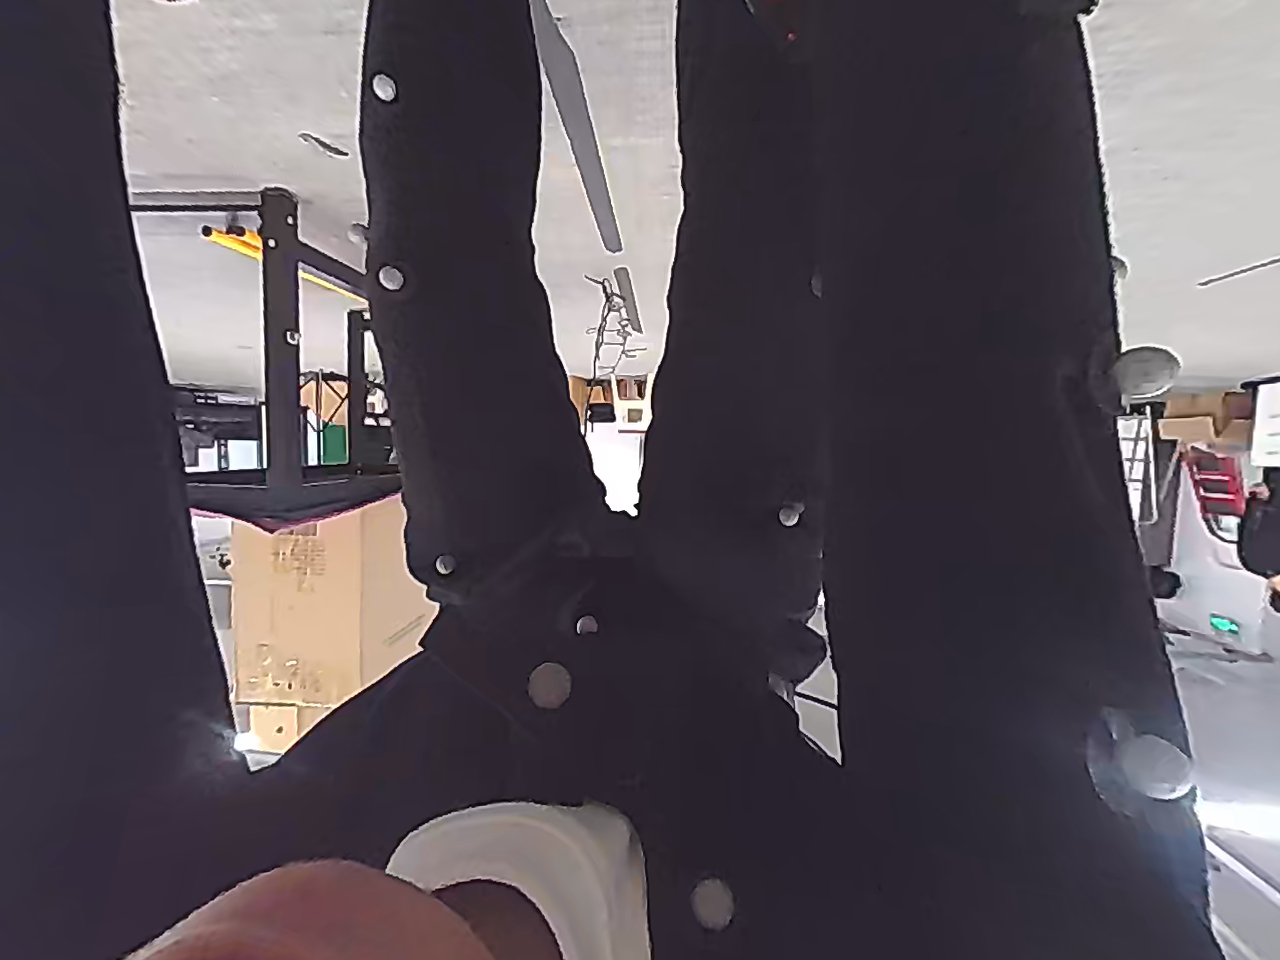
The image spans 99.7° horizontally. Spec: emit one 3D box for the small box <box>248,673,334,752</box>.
[{"bbox_3d":[-1.119,0.740,1.736,0.168,0.176,0.179,2,-173,8],"label":"small box"}]
